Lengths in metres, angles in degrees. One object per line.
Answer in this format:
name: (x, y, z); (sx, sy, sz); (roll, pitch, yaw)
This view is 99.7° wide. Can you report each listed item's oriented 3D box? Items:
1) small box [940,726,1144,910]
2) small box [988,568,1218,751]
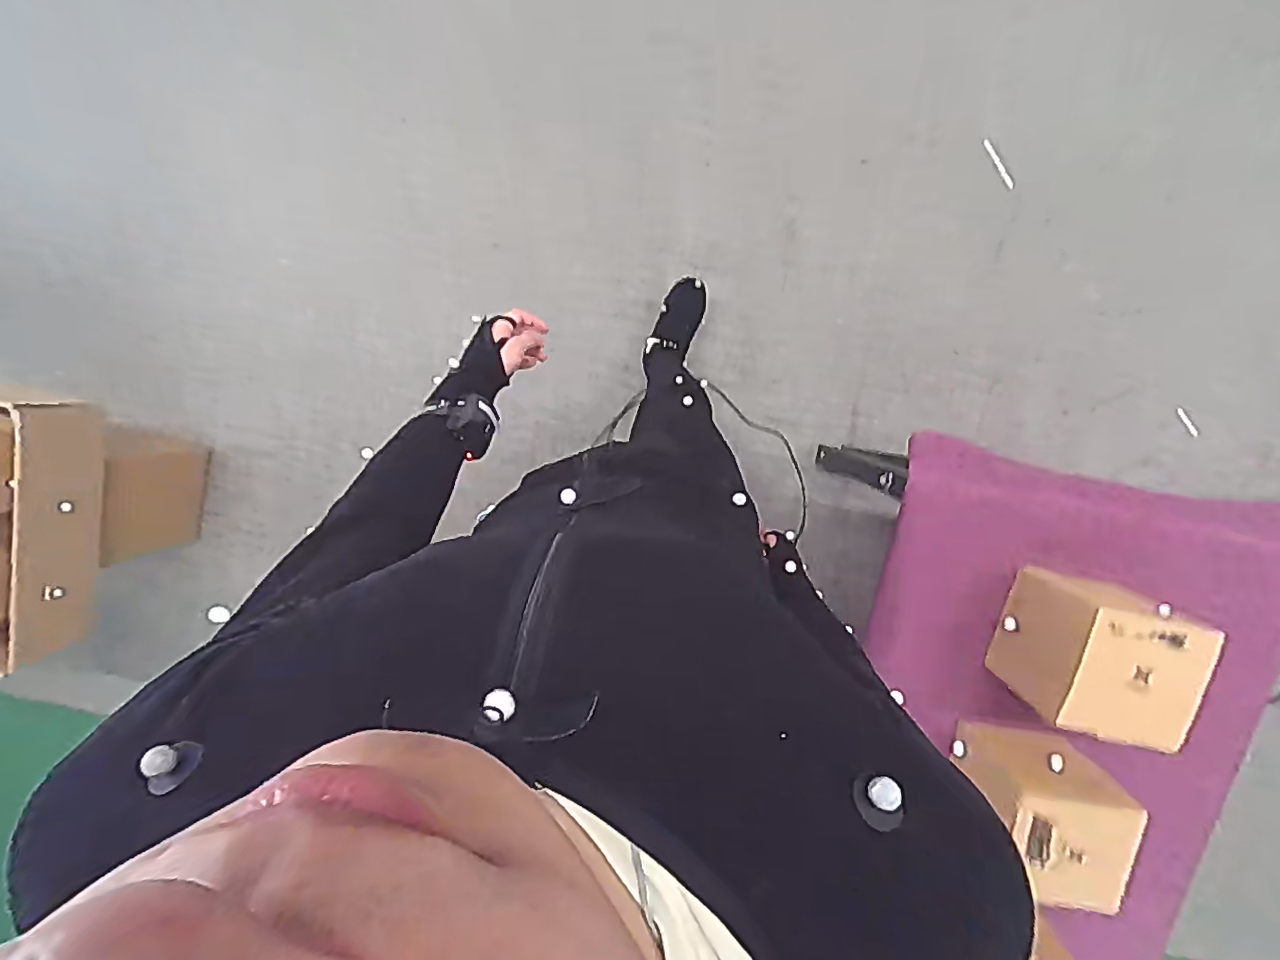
small box: (0.603, 0.509, 0.838); (0.179, 0.176, 0.168); (8, 100, 0)
small box: (0.654, 0.251, 0.793); (0.168, 0.176, 0.179); (13, 100, 0)
